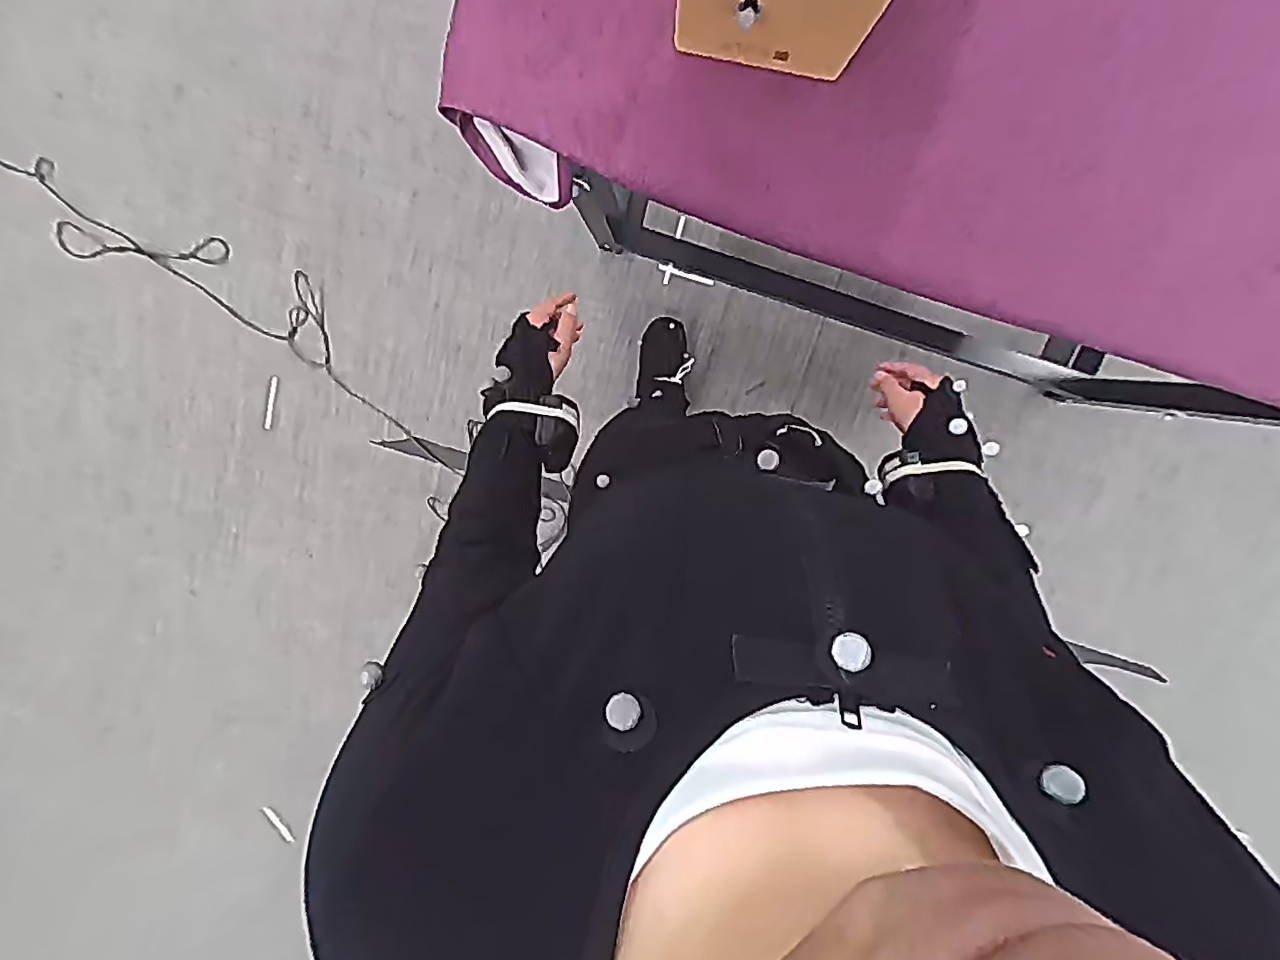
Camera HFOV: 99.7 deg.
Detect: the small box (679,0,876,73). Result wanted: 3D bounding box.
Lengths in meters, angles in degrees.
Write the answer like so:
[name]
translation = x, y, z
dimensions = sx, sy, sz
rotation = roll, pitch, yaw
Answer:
[small box]
translation = 0.127, -0.478, 0.442
dimensions = 0.168, 0.176, 0.179
rotation = 10, 103, -1
